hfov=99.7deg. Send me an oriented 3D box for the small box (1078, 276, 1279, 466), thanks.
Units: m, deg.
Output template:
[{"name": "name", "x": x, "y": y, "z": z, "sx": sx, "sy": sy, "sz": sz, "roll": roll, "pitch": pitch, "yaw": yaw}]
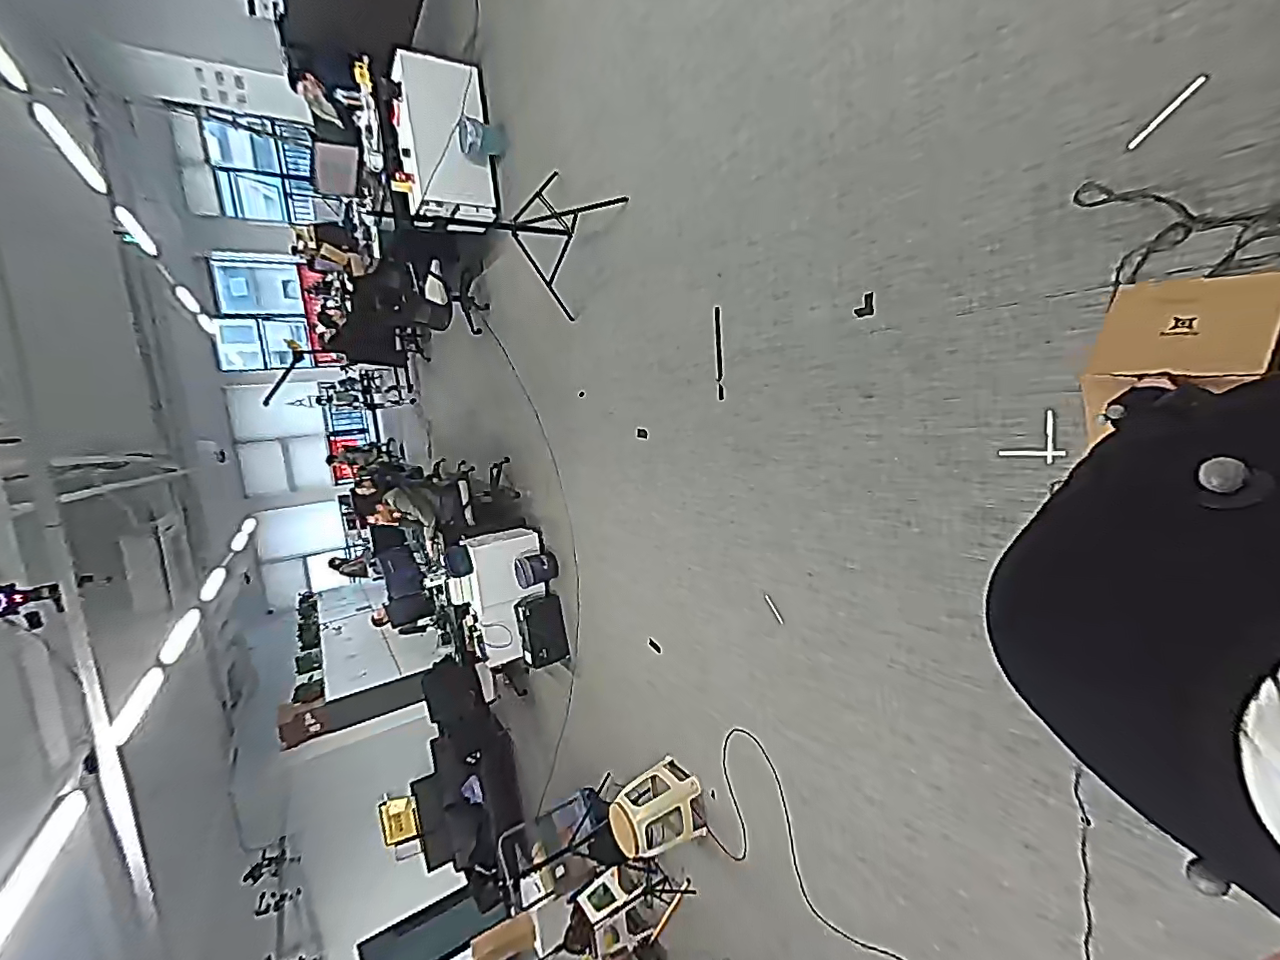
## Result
[{"name": "small box", "x": 0.725, "y": -0.140, "z": 0.726, "sx": 0.168, "sy": 0.179, "sz": 0.176, "roll": 15, "pitch": 154, "yaw": 50}]
